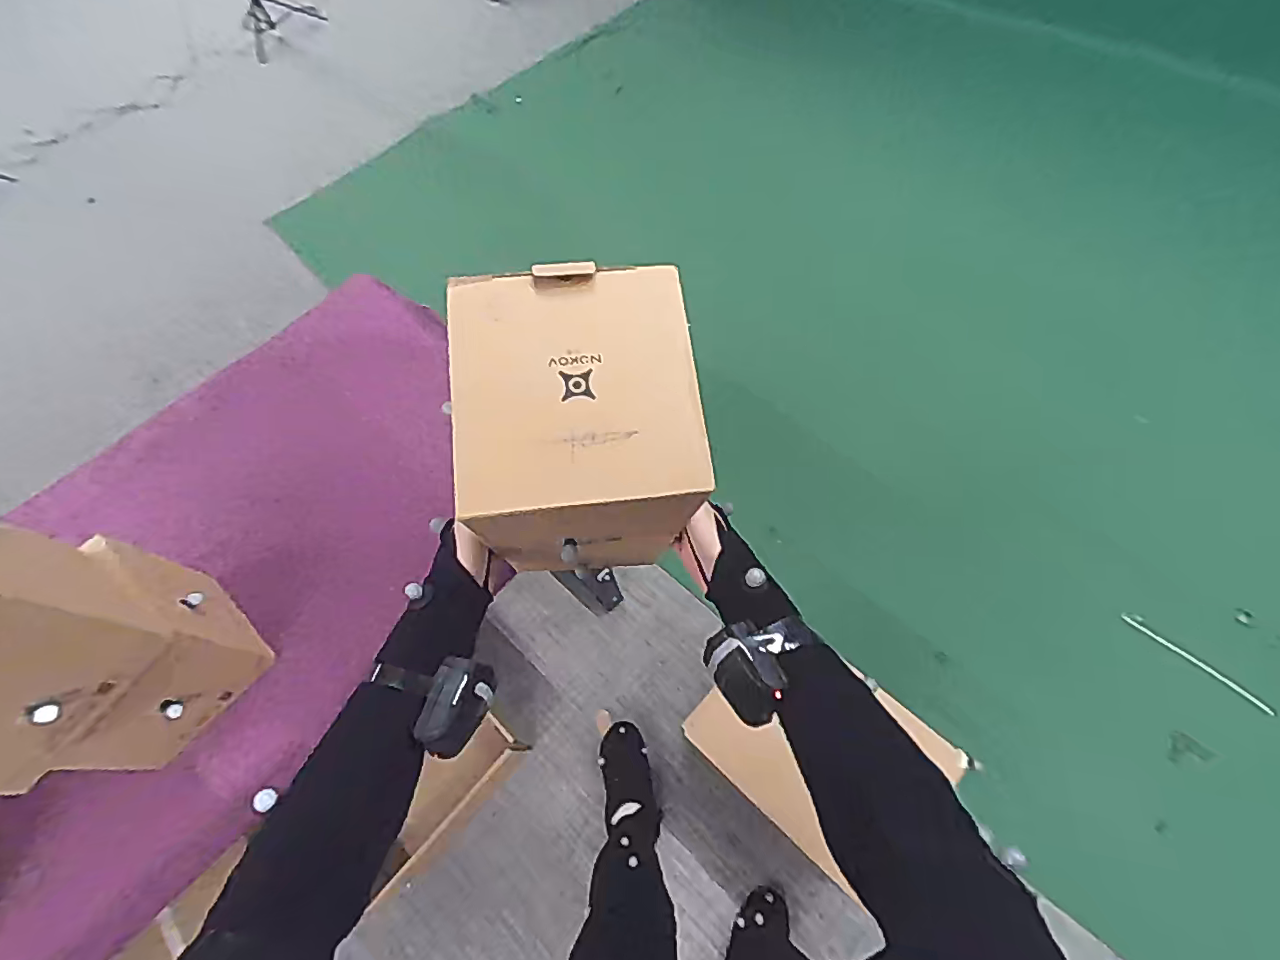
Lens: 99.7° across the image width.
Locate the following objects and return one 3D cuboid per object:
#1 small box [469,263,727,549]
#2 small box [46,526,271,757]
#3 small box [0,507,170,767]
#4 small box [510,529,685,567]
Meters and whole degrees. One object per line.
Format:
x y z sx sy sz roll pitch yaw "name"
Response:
-0.039 -0.048 0.439 0.168 0.176 0.179 -4 74 -6 "small box"
-0.583 0.189 0.625 0.179 0.176 0.168 35 70 21 "small box"
-0.584 0.130 0.469 0.179 0.176 0.168 29 69 19 "small box"
-0.050 -0.004 0.595 0.168 0.176 0.179 -1 74 -6 "small box"
